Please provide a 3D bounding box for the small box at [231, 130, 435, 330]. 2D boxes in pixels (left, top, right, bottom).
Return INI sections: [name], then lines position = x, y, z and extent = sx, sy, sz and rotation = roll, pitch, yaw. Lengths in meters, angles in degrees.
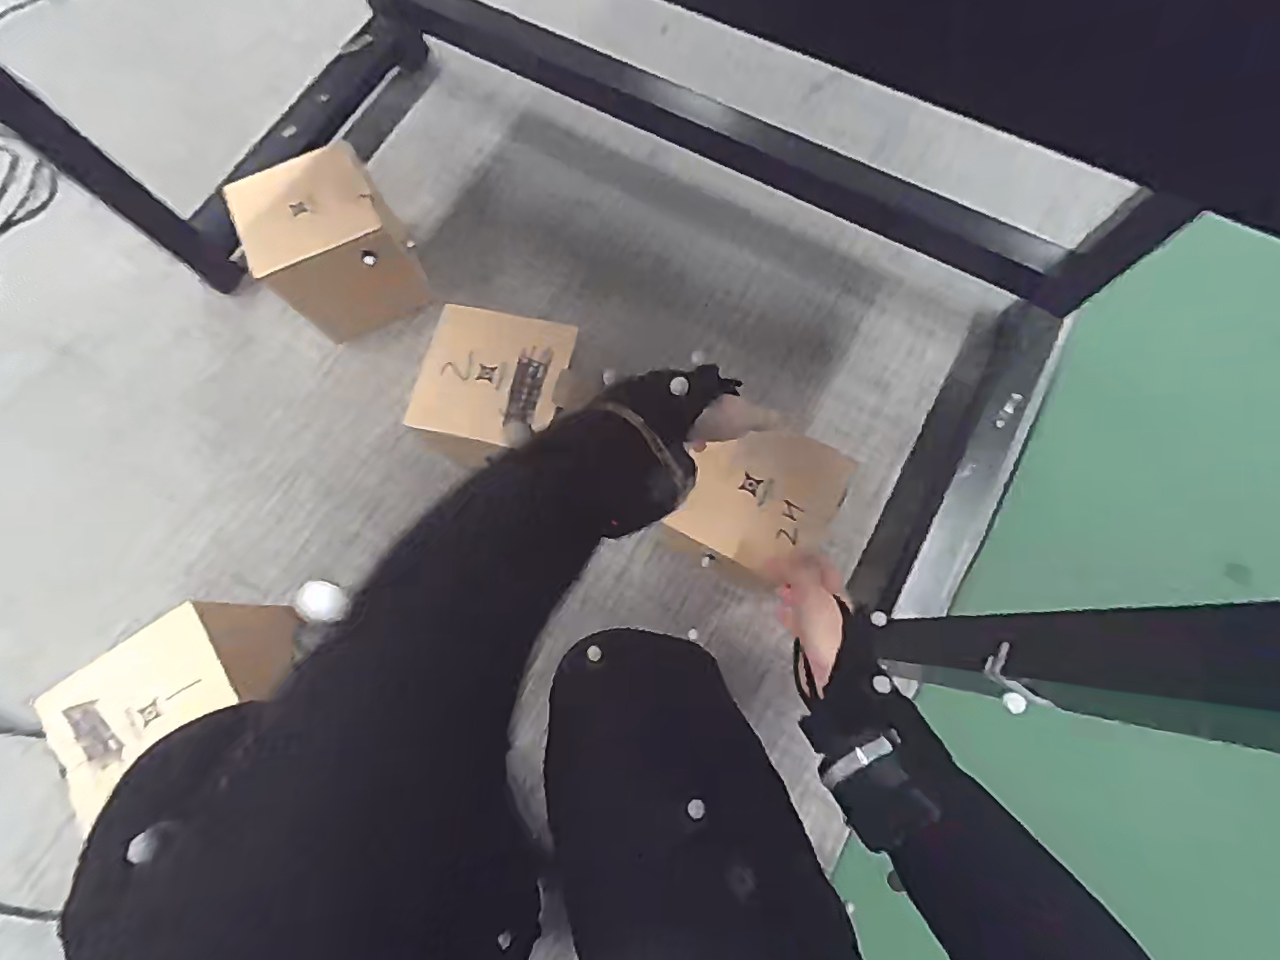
[small box]
position = -0.433, -0.349, 0.785
extent = 0.179, 0.176, 0.168
rotation = -26, 75, -5
